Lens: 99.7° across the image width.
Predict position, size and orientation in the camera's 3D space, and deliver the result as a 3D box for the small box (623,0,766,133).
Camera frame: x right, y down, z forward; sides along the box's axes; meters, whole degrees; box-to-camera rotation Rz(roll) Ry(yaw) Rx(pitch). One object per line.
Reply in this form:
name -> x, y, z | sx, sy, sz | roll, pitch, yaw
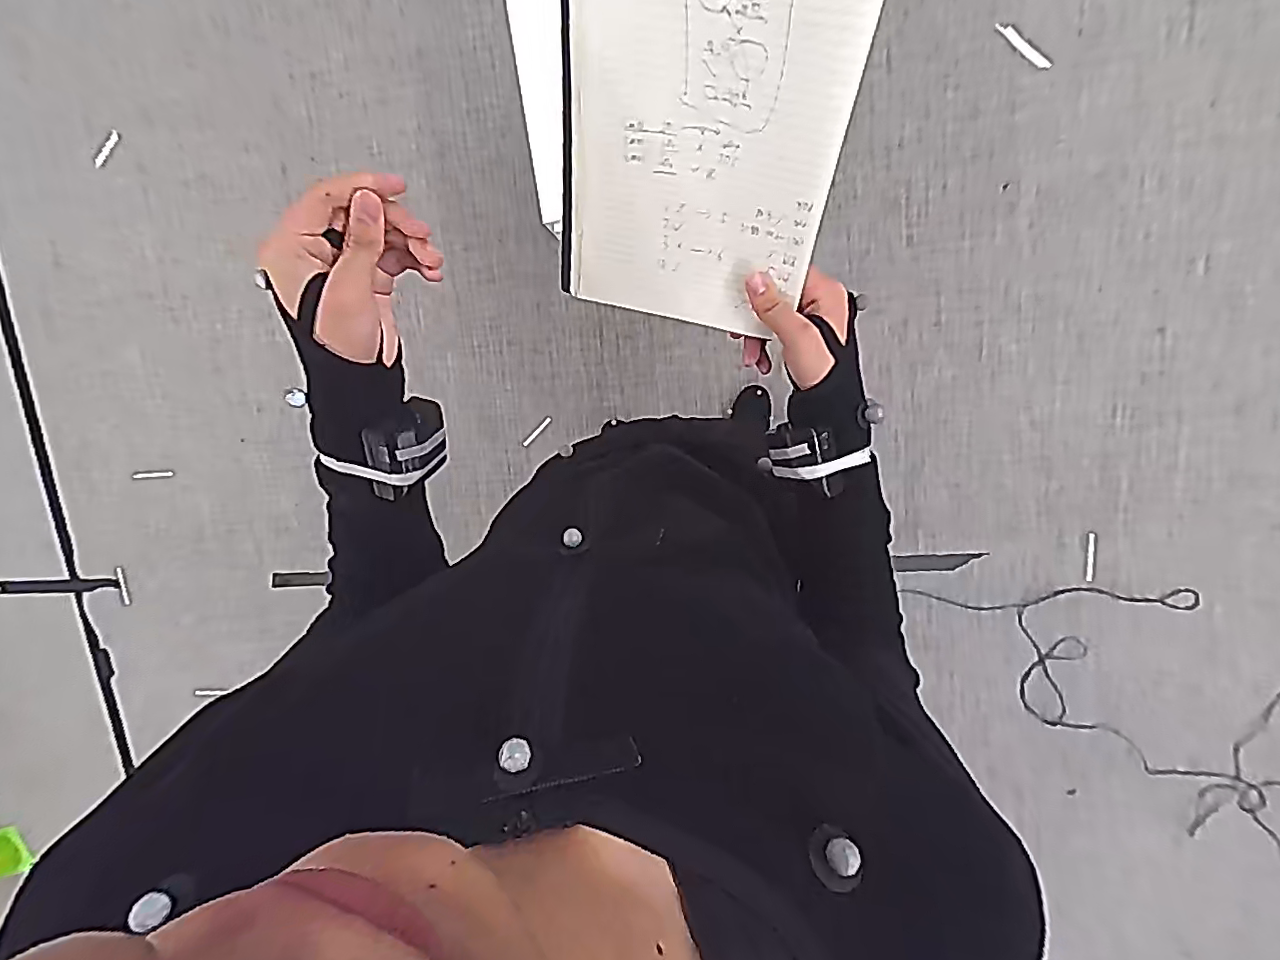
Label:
small box -> 0.078, -0.671, 0.818 | 0.179, 0.176, 0.168 | -16, 97, 10
